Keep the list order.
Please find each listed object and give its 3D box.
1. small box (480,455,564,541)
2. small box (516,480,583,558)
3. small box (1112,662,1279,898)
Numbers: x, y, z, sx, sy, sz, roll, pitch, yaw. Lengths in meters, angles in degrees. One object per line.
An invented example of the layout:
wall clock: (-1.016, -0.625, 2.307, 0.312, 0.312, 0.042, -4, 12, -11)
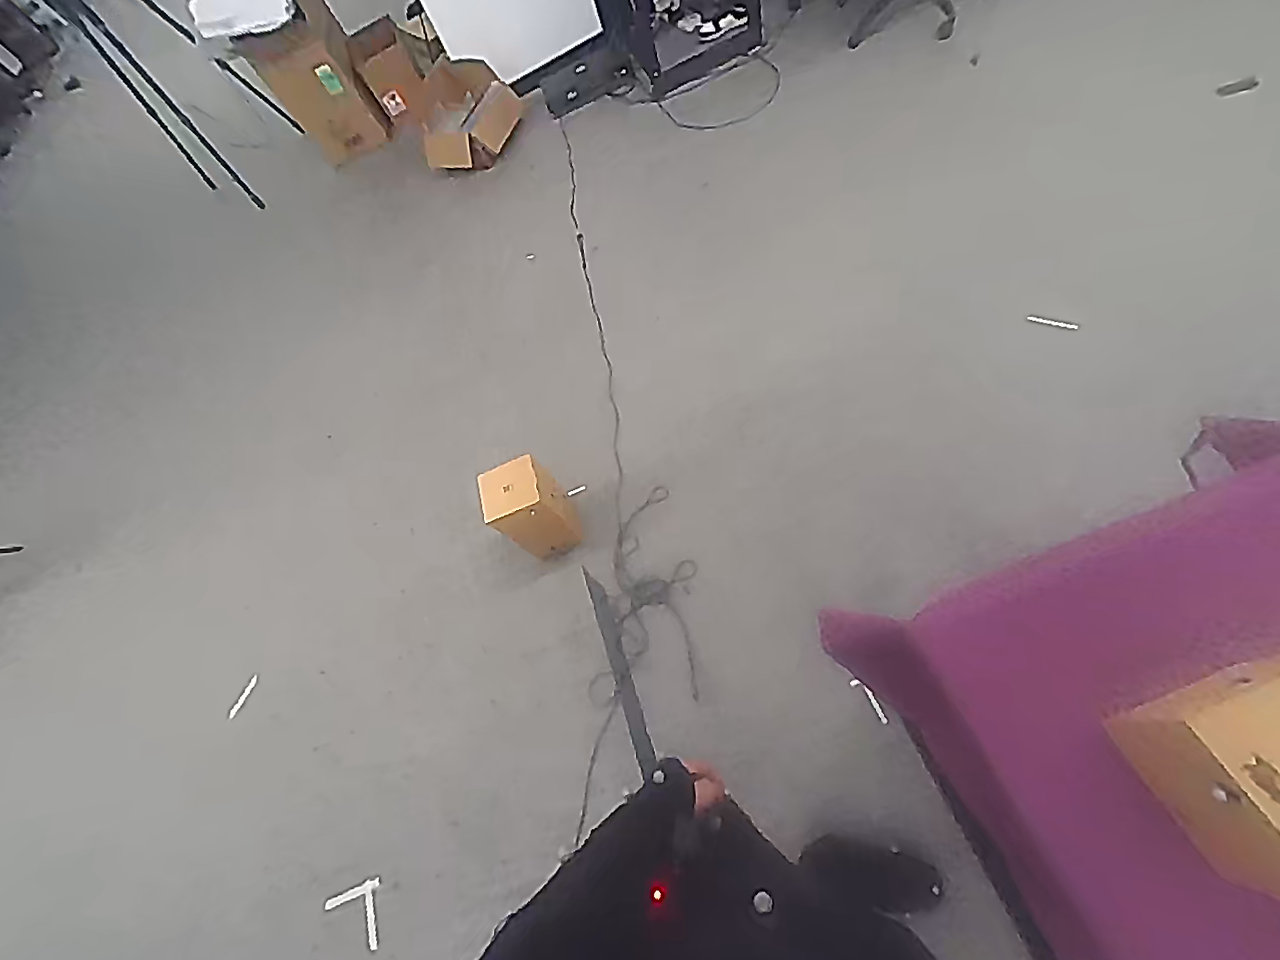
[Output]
small box: (-0.348, 0.060, 1.604, 0.179, 0.176, 0.168, -23, 60, 6)
small box: (-0.304, 0.127, 1.745, 0.168, 0.176, 0.179, -24, 61, 6)
small box: (0.638, 0.286, 0.532, 0.179, 0.176, 0.168, -26, 60, 3)
